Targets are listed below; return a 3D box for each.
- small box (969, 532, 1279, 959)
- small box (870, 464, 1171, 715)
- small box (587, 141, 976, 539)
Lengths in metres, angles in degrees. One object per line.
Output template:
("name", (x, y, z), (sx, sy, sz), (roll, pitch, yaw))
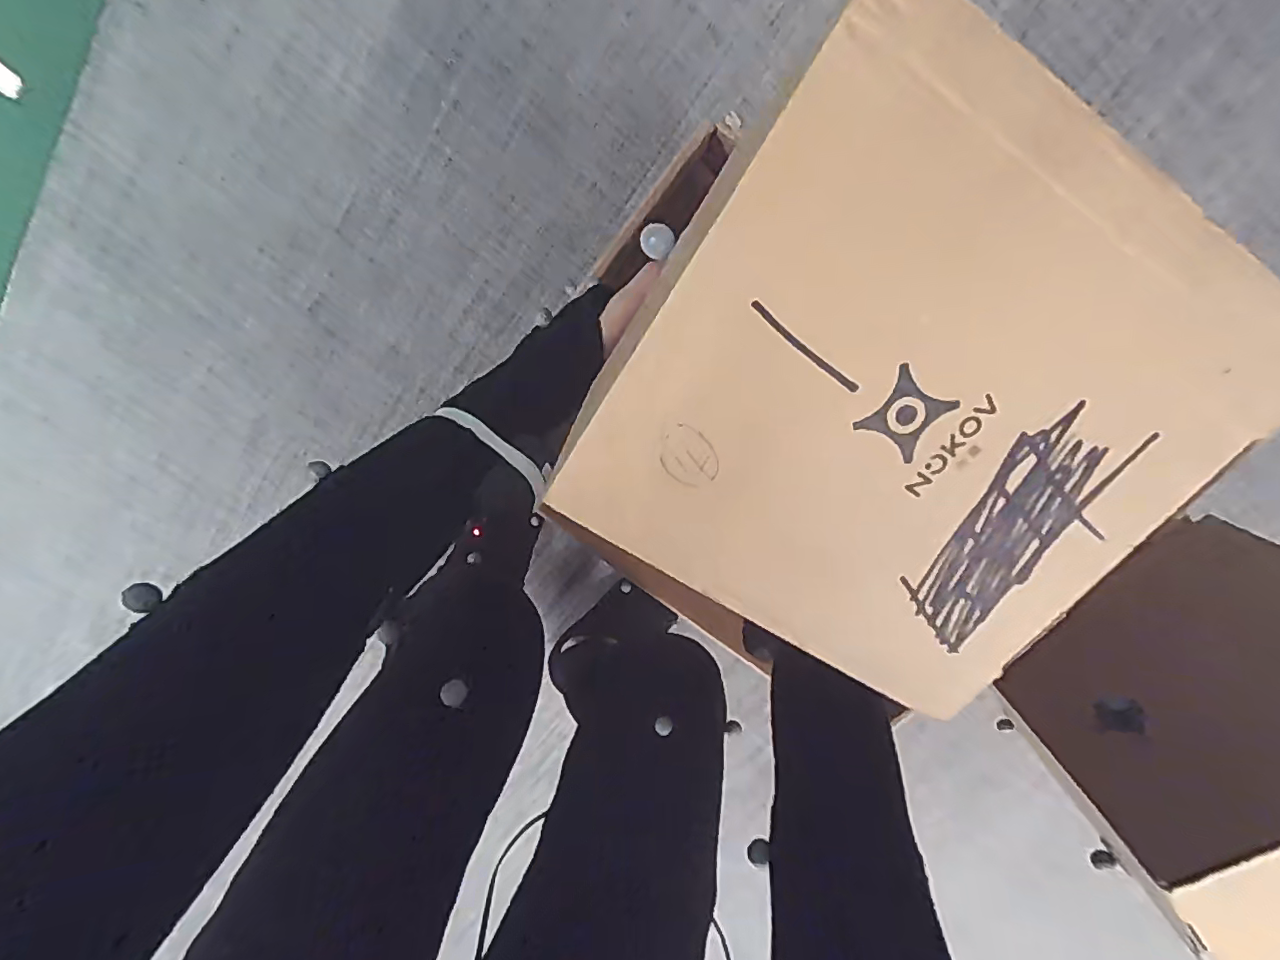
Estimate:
("small box", (0.334, 0.164, 0.317), (0.179, 0.176, 0.168), (-35, 108, 14))
("small box", (0.335, 0.105, 0.470), (0.168, 0.176, 0.179), (-37, 106, 15))
("small box", (0.081, -0.097, 0.393), (0.168, 0.176, 0.179), (34, 109, -11))
